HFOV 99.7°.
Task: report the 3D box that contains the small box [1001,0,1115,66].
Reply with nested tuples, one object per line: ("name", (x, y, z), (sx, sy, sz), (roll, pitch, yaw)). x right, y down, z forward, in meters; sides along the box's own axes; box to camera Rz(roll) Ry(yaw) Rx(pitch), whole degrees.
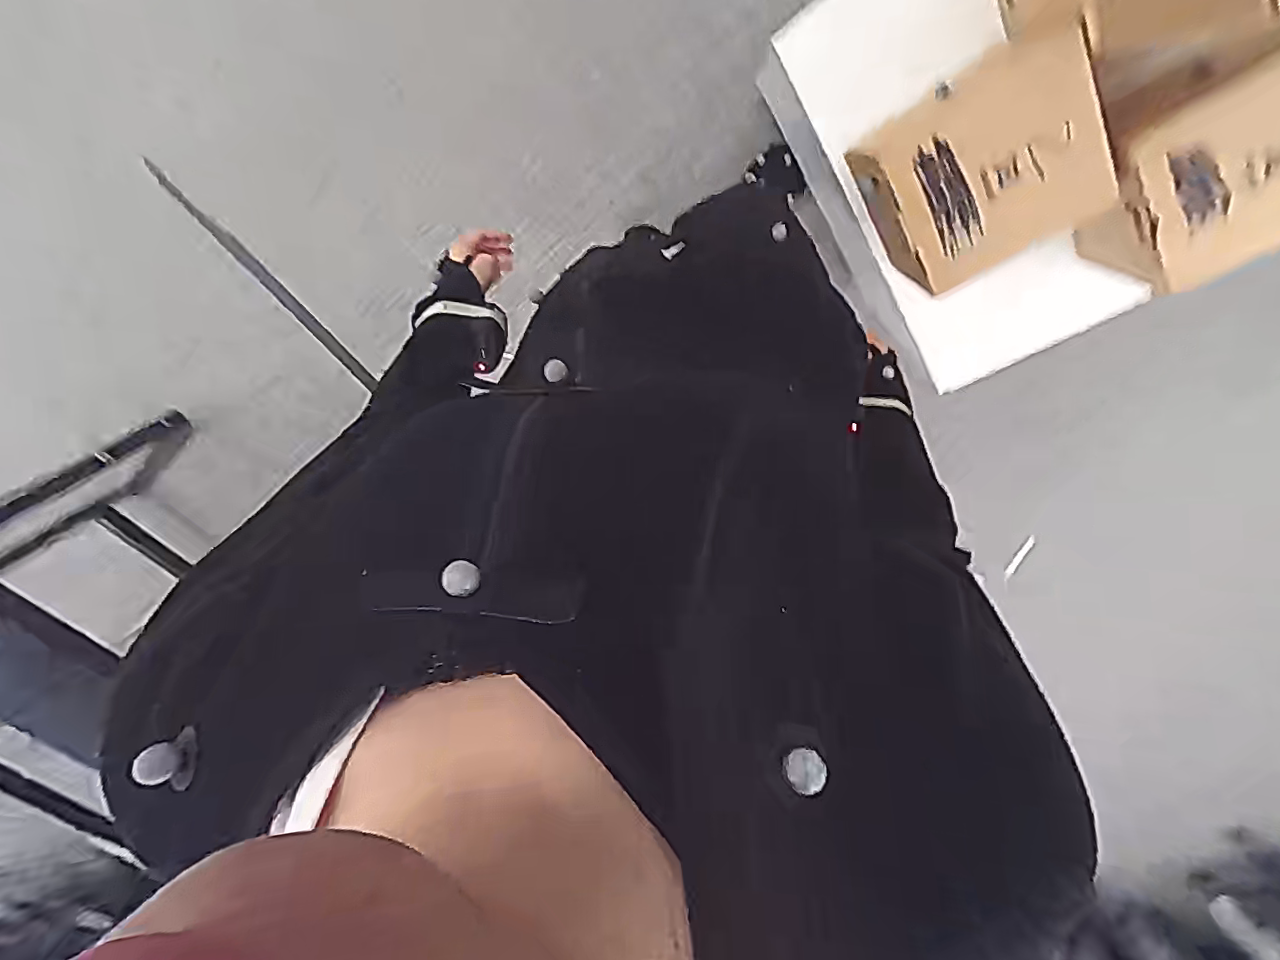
("small box", (0.430, -0.500, 0.467), (0.179, 0.176, 0.168), (-24, 116, 23))

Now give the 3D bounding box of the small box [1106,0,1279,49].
("small box", (0.417, -0.409, 0.330), (0.179, 0.176, 0.168), (-25, 116, 24))
